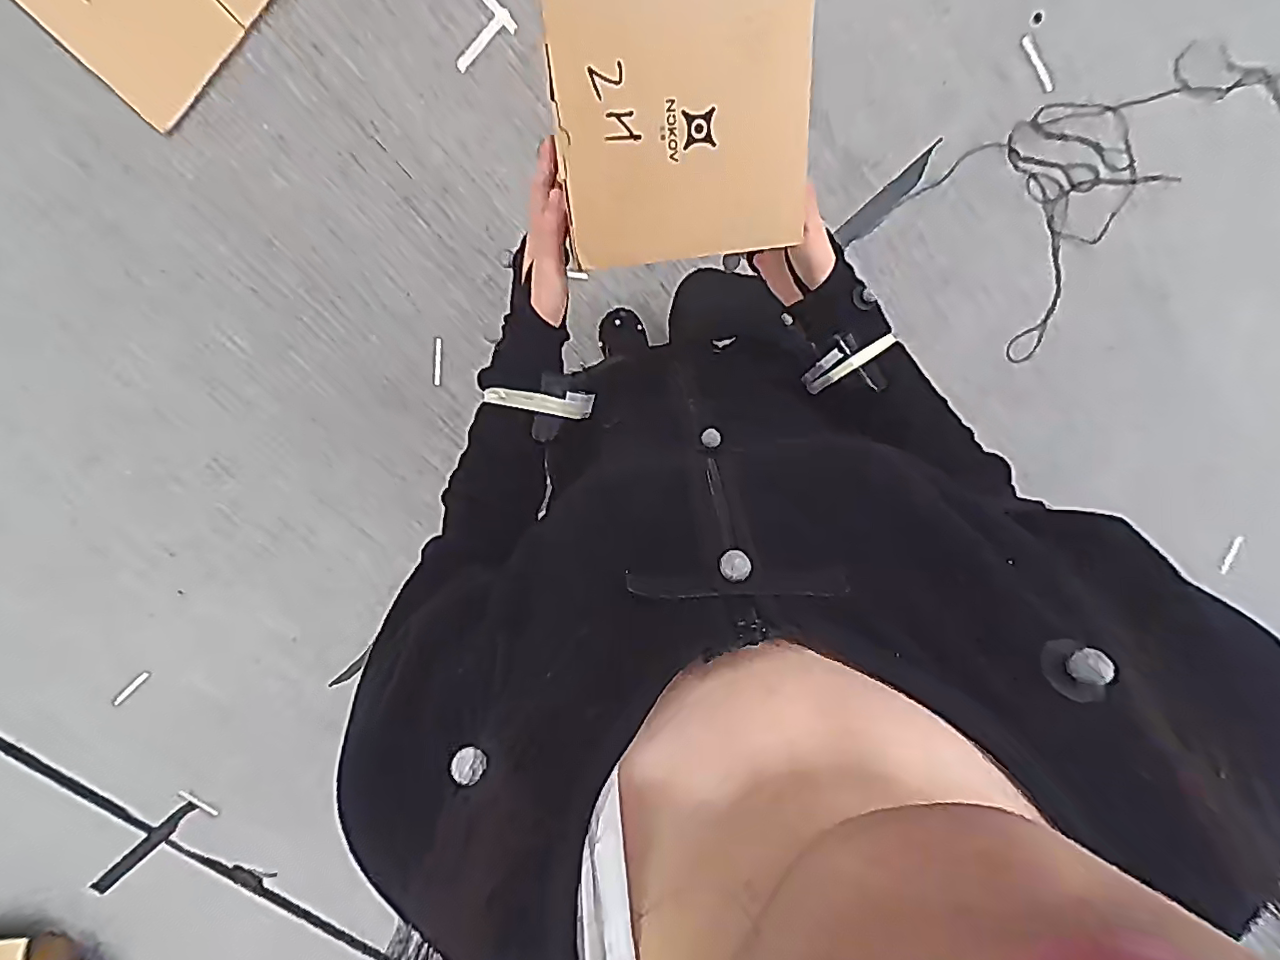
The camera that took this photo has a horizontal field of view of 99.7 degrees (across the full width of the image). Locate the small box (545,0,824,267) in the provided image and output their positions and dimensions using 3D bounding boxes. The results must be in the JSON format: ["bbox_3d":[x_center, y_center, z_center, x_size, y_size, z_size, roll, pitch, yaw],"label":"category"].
[{"bbox_3d":[0.023,-0.274,0.431,0.179,0.176,0.168,-9,118,-5],"label":"small box"}]
